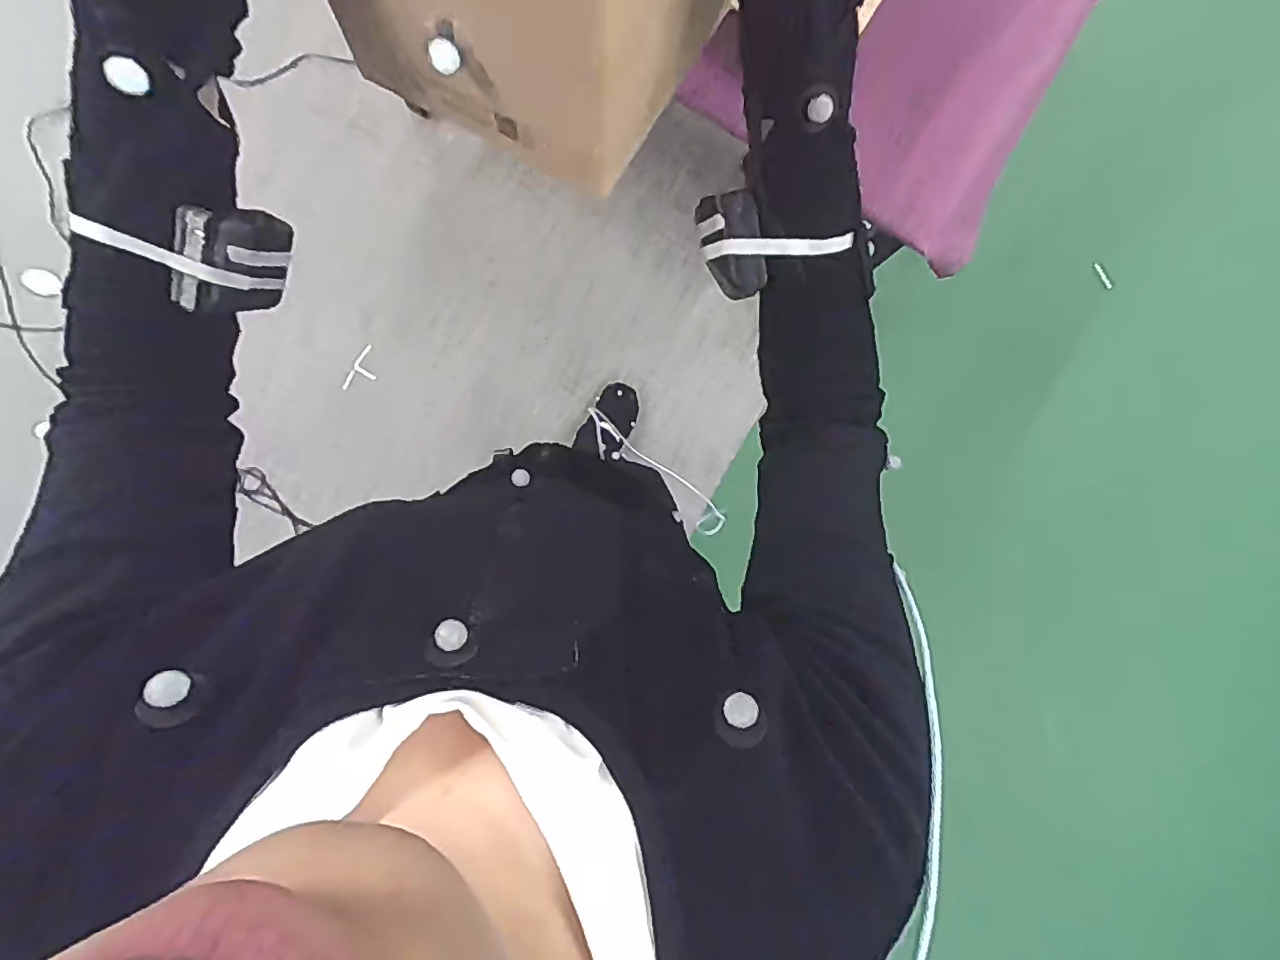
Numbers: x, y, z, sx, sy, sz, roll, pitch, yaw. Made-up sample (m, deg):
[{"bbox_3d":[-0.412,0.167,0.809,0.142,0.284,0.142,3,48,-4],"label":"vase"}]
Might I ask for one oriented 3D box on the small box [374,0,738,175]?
[{"bbox_3d":[-0.035,-0.296,0.252,0.168,0.176,0.179,28,76,3],"label":"small box"}]
